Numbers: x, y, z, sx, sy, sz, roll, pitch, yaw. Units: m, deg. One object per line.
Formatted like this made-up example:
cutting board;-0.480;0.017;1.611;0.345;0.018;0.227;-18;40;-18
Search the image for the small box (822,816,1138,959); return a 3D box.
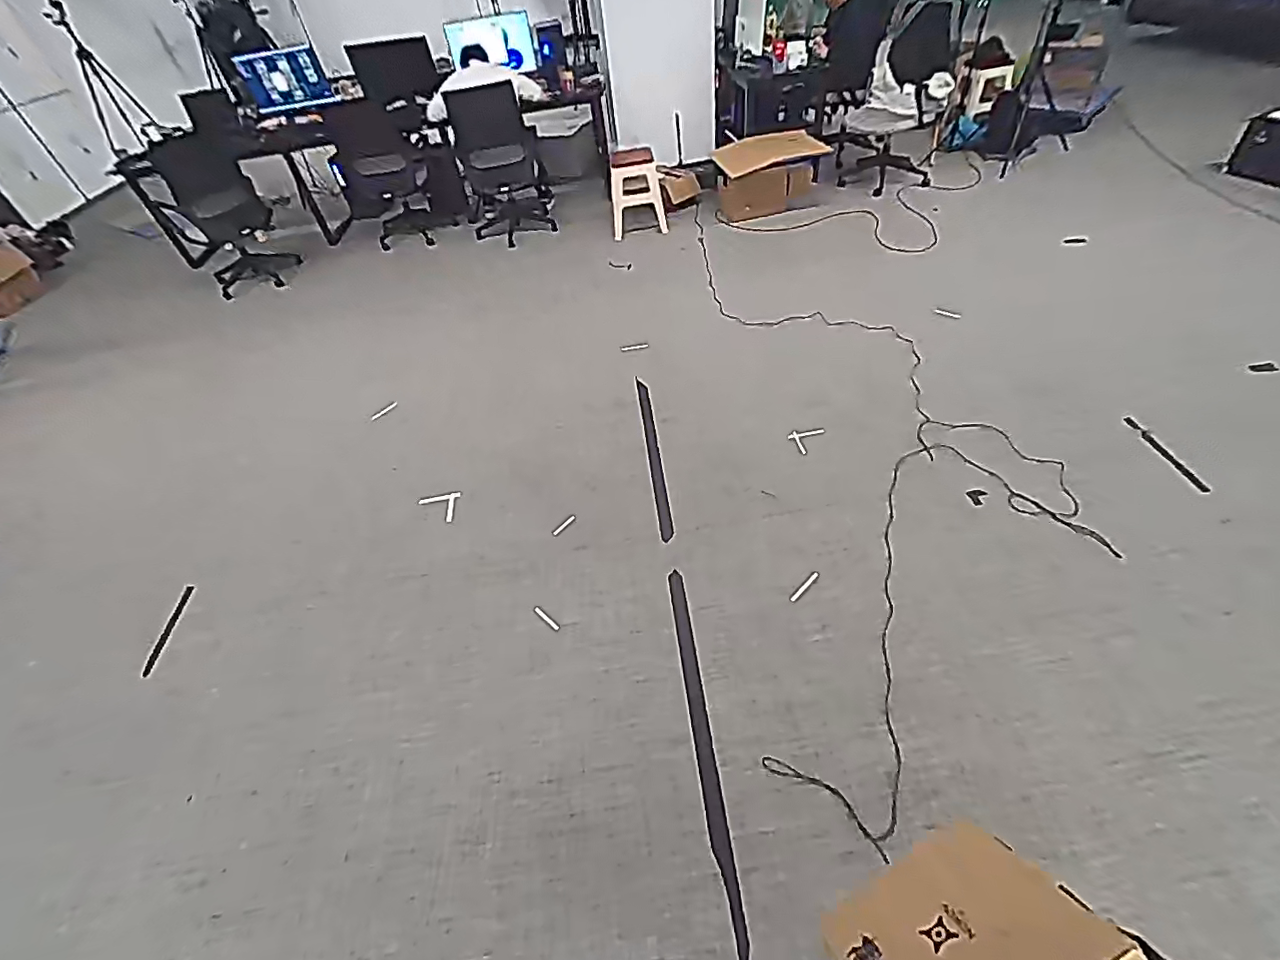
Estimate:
small box;0.289;0.431;0.435;0.179;0.168;0.176;-29;87;-7
